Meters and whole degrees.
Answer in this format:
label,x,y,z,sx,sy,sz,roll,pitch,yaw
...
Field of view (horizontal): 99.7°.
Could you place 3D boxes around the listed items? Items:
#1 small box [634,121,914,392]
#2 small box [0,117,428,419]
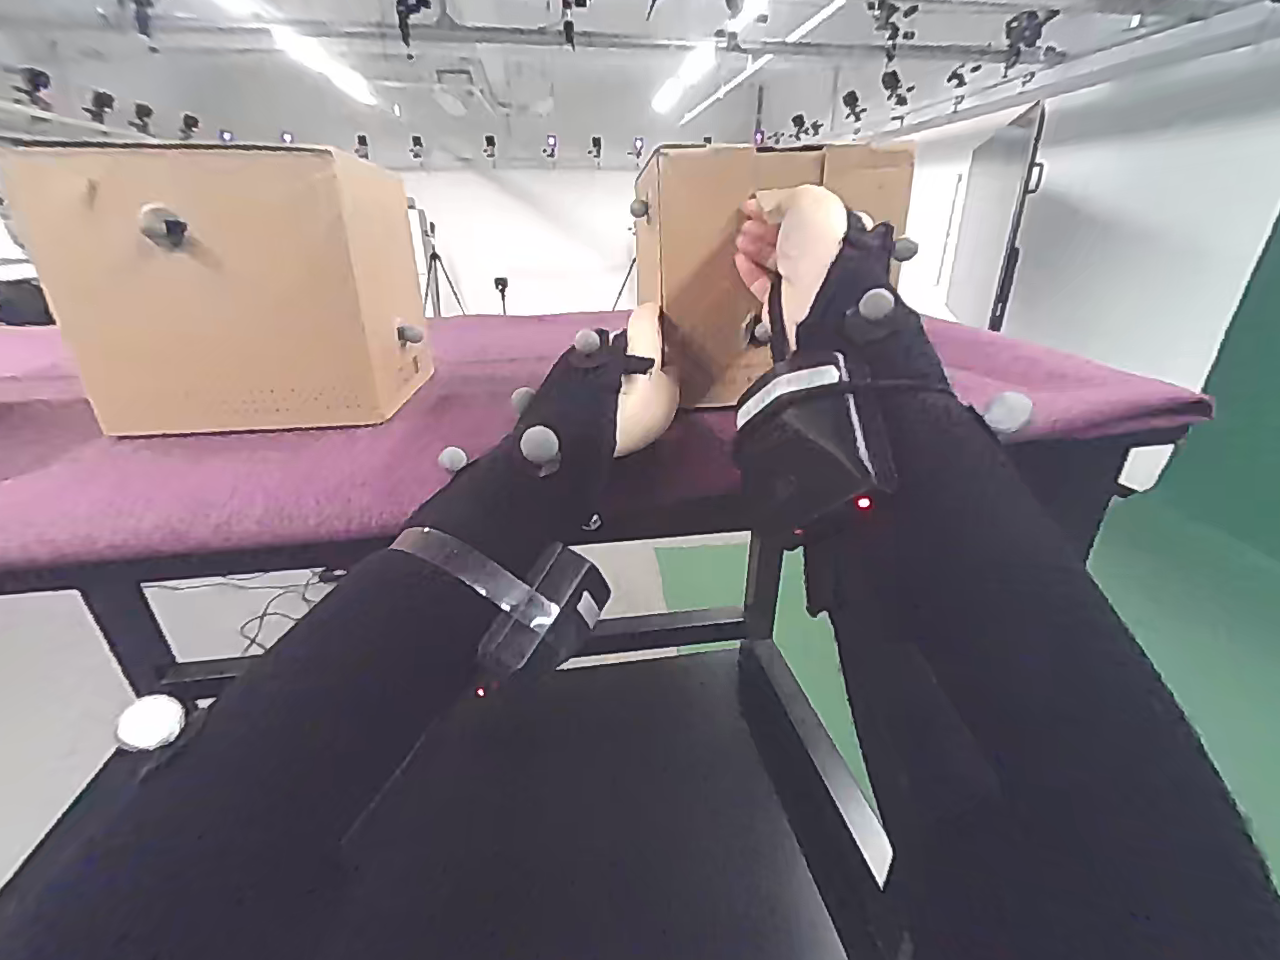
label,x,y,z,sx,sy,sz,roll,pitch,yaw
small box,0.084,-0.171,0.435,0.168,0.176,0.179,-5,24,-4
small box,-0.273,-0.146,0.395,0.179,0.176,0.168,-4,24,-7
